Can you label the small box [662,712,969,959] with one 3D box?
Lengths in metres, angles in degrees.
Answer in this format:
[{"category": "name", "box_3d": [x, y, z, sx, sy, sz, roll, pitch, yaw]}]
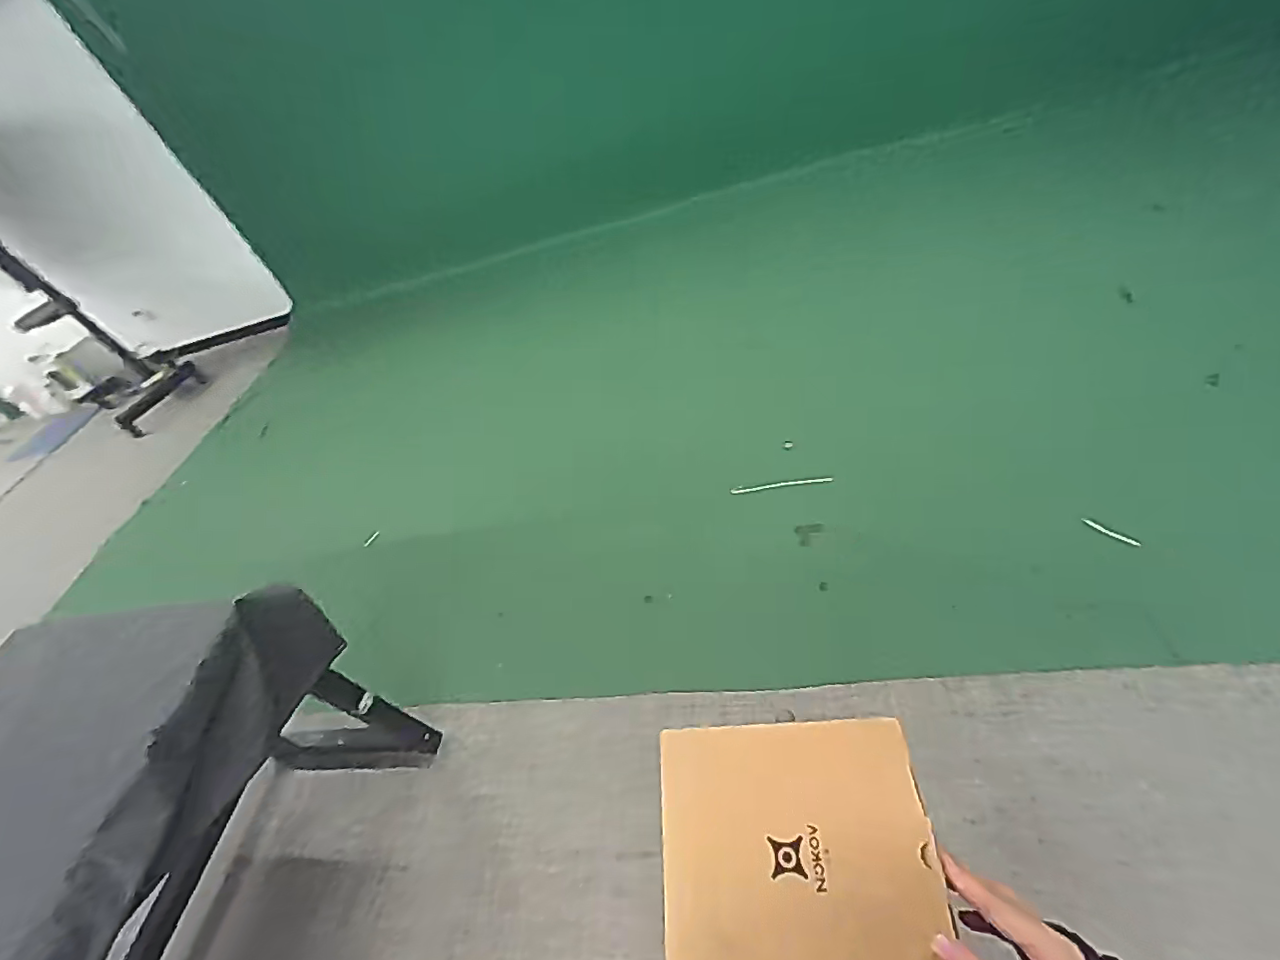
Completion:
[{"category": "small box", "box_3d": [0.120, 0.287, 0.410, 0.179, 0.176, 0.168, -8, 52, 11]}]
